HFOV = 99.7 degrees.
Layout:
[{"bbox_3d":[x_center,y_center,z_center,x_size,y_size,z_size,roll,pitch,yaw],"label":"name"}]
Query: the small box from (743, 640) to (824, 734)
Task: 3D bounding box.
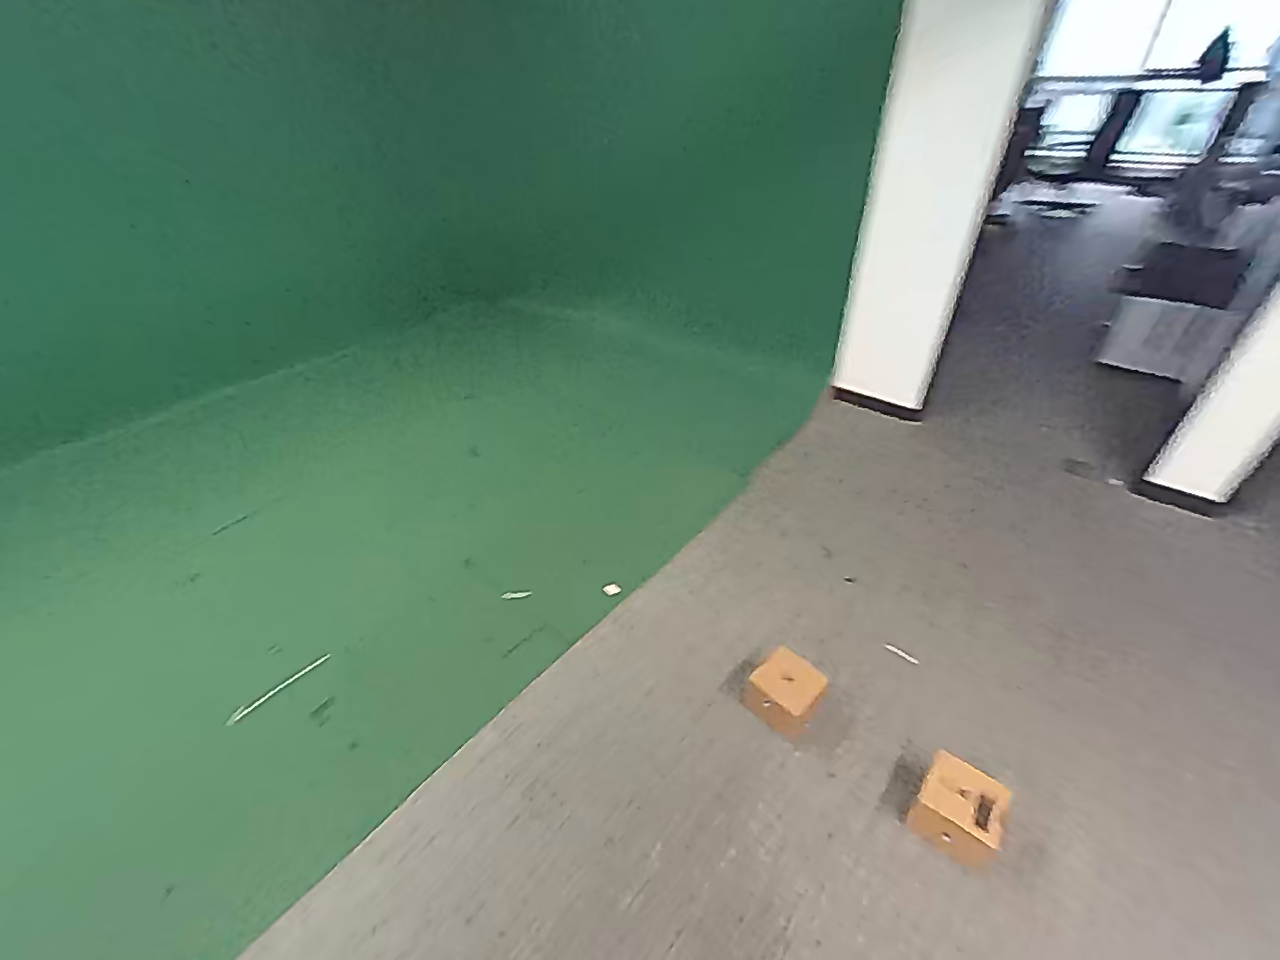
[{"bbox_3d":[0.432,0.636,1.657,0.168,0.176,0.179,-32,48,-30],"label":"small box"}]
